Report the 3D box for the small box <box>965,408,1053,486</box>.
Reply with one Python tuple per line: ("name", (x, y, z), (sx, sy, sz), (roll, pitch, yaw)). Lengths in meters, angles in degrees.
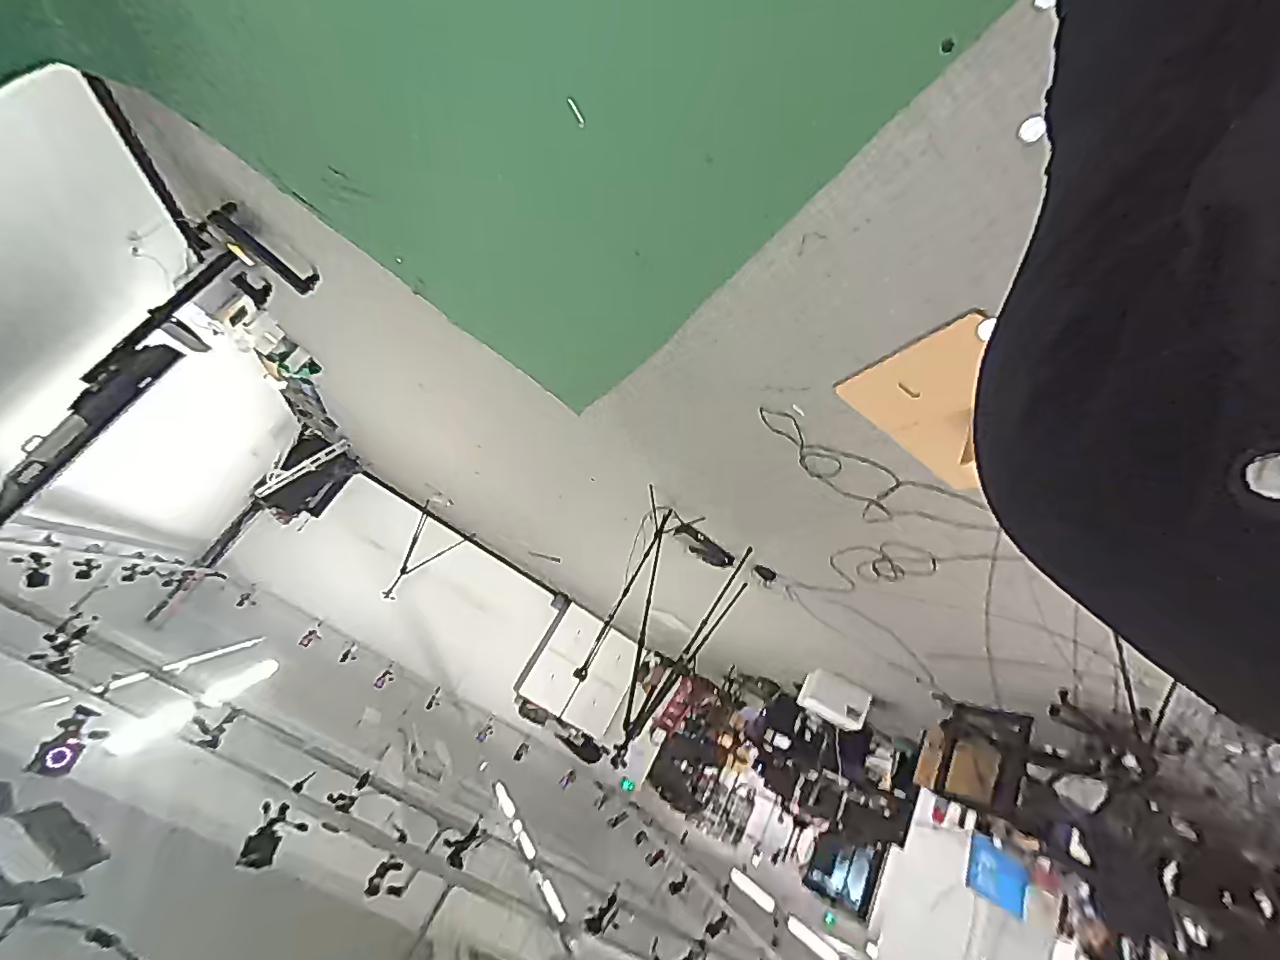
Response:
("small box", (1.219, -0.110, 1.780), (0.168, 0.176, 0.179), (32, 158, -6))
